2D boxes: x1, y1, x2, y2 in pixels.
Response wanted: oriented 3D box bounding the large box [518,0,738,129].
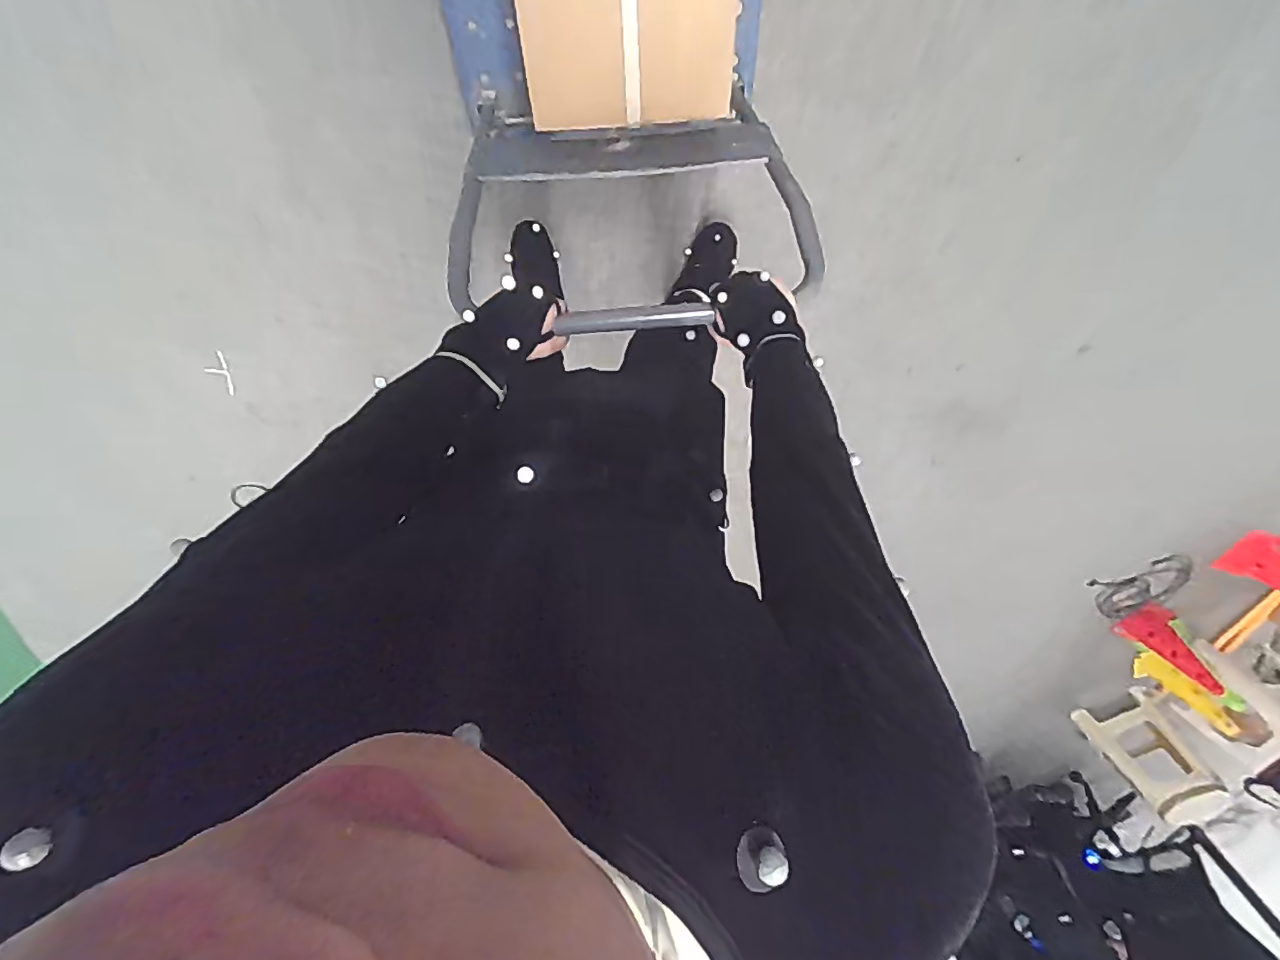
[{"bbox_3d":[-0.028,-0.815,0.817,0.320,0.320,0.408,-6,138,-1],"label":"large box"}]
